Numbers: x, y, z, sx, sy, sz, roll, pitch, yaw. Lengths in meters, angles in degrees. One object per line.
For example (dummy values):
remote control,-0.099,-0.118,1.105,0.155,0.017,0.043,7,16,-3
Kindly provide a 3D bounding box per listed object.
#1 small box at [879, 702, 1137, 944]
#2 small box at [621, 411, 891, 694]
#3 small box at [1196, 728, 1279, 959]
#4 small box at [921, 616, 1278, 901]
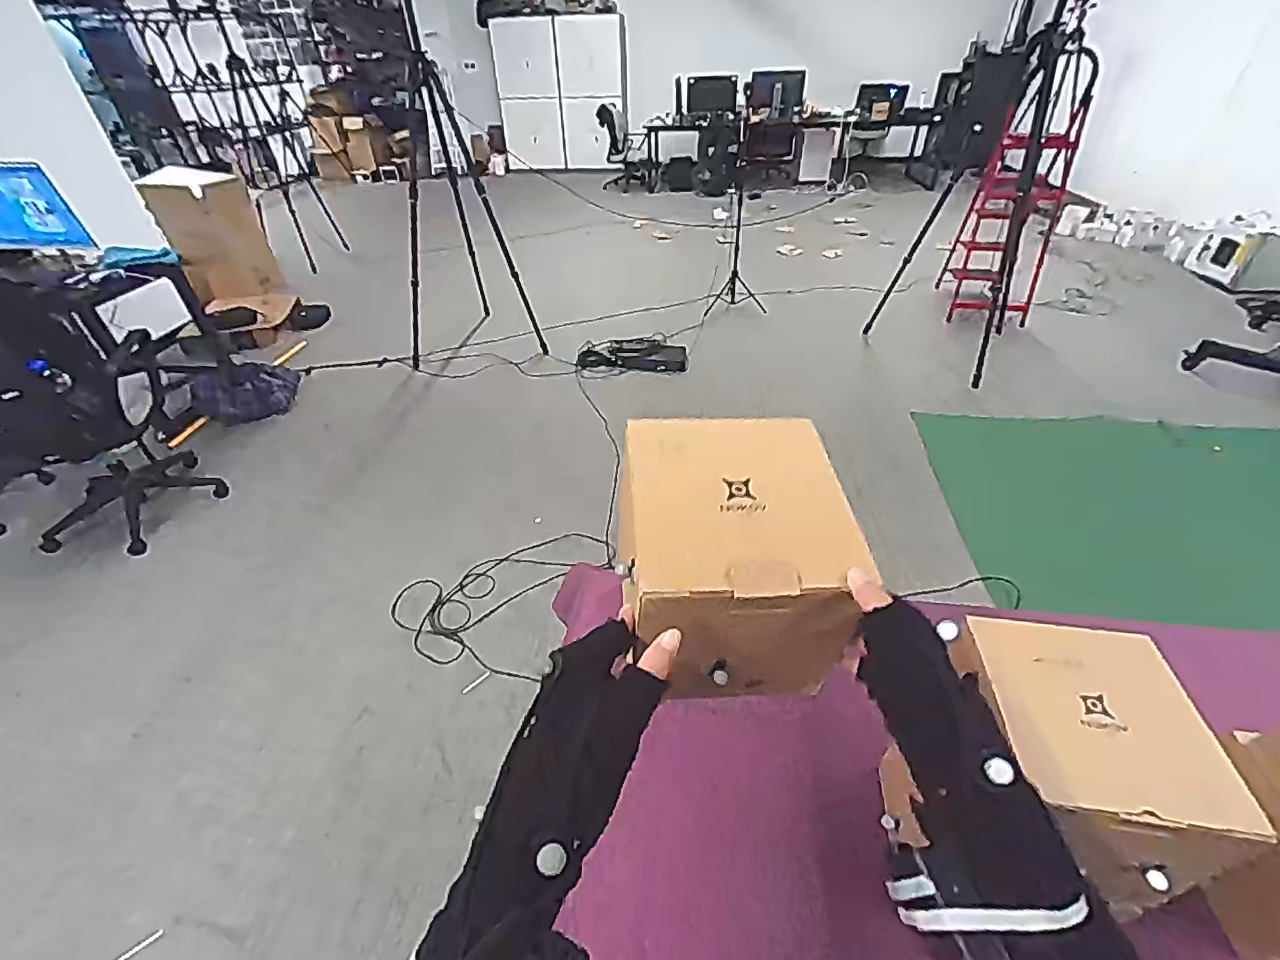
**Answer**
small box,0.384,0.384,0.608,0.168,0.176,0.179,6,40,9
small box,0.072,0.062,0.459,0.168,0.176,0.179,-1,48,-6
small box,0.724,0.399,0.572,0.168,0.176,0.179,8,41,9
small box,0.387,0.257,0.505,0.168,0.176,0.179,6,40,8
